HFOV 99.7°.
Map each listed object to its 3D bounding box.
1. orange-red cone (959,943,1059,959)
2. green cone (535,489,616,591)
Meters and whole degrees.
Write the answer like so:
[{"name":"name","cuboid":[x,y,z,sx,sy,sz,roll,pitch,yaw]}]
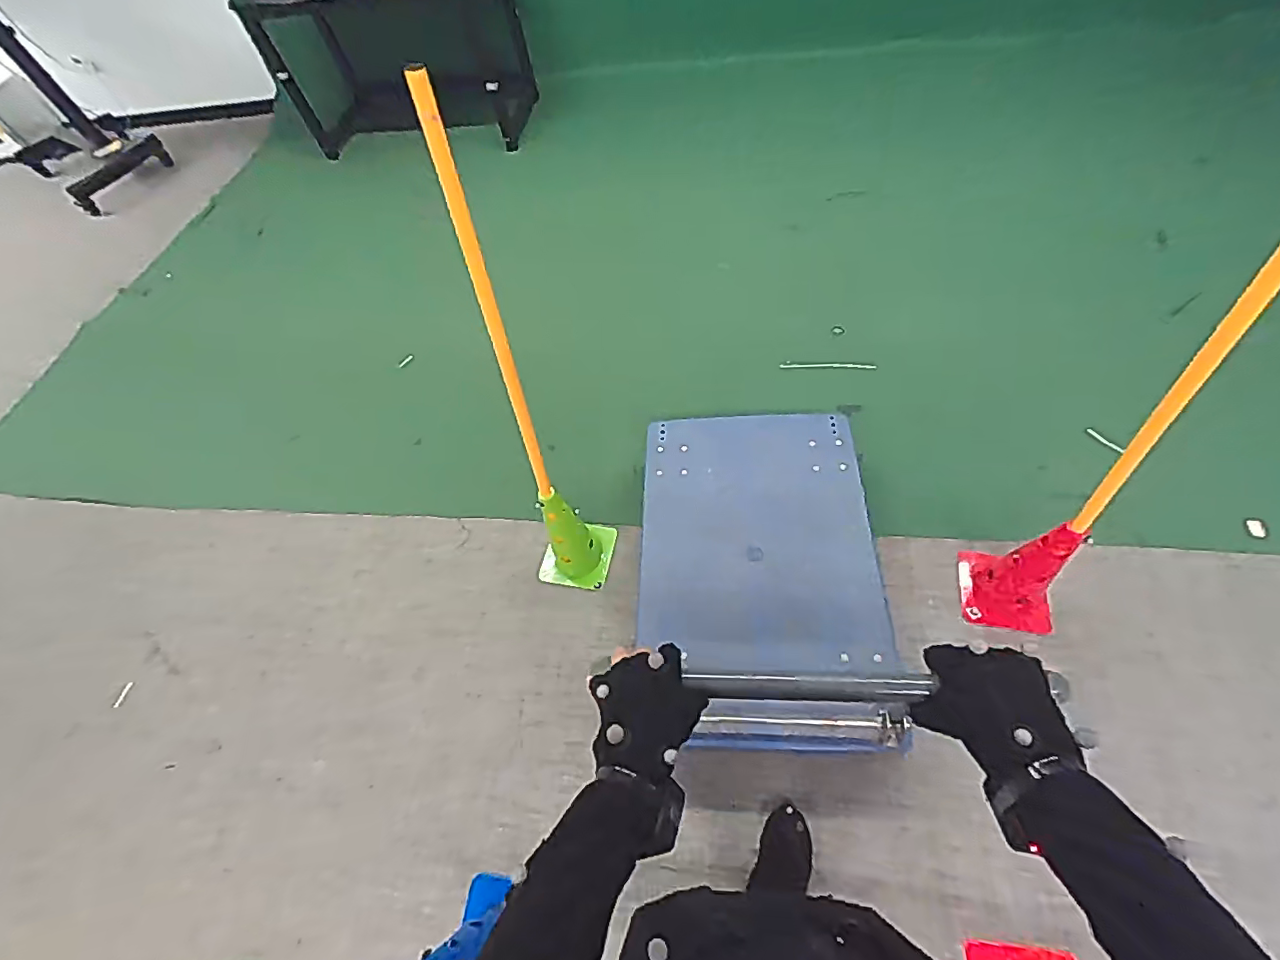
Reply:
[{"name":"orange-red cone","cuboid":[0.677,0.889,0.844,0.199,0.360,0.198,1,57,11]},{"name":"green cone","cuboid":[-0.207,0.132,1.467,0.202,0.368,0.200,6,58,13]}]
